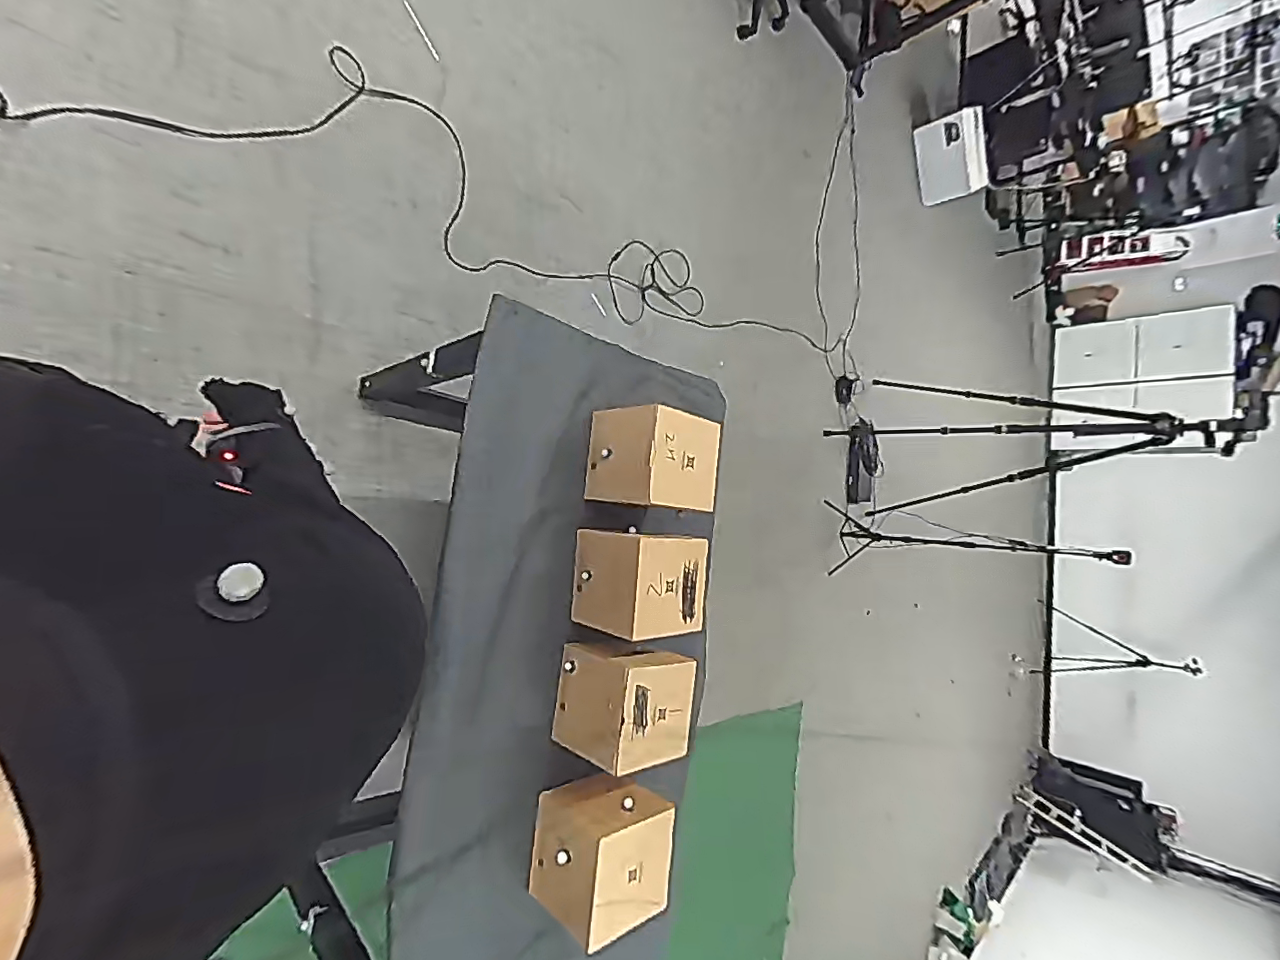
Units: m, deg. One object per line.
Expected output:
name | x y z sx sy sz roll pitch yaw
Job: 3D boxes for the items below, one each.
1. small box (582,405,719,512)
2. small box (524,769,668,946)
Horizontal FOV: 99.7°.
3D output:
small box | 0.020 -0.036 0.995 0.179 0.176 0.168 10 84 -44
small box | -0.078 0.626 0.926 0.179 0.176 0.168 11 84 -45
